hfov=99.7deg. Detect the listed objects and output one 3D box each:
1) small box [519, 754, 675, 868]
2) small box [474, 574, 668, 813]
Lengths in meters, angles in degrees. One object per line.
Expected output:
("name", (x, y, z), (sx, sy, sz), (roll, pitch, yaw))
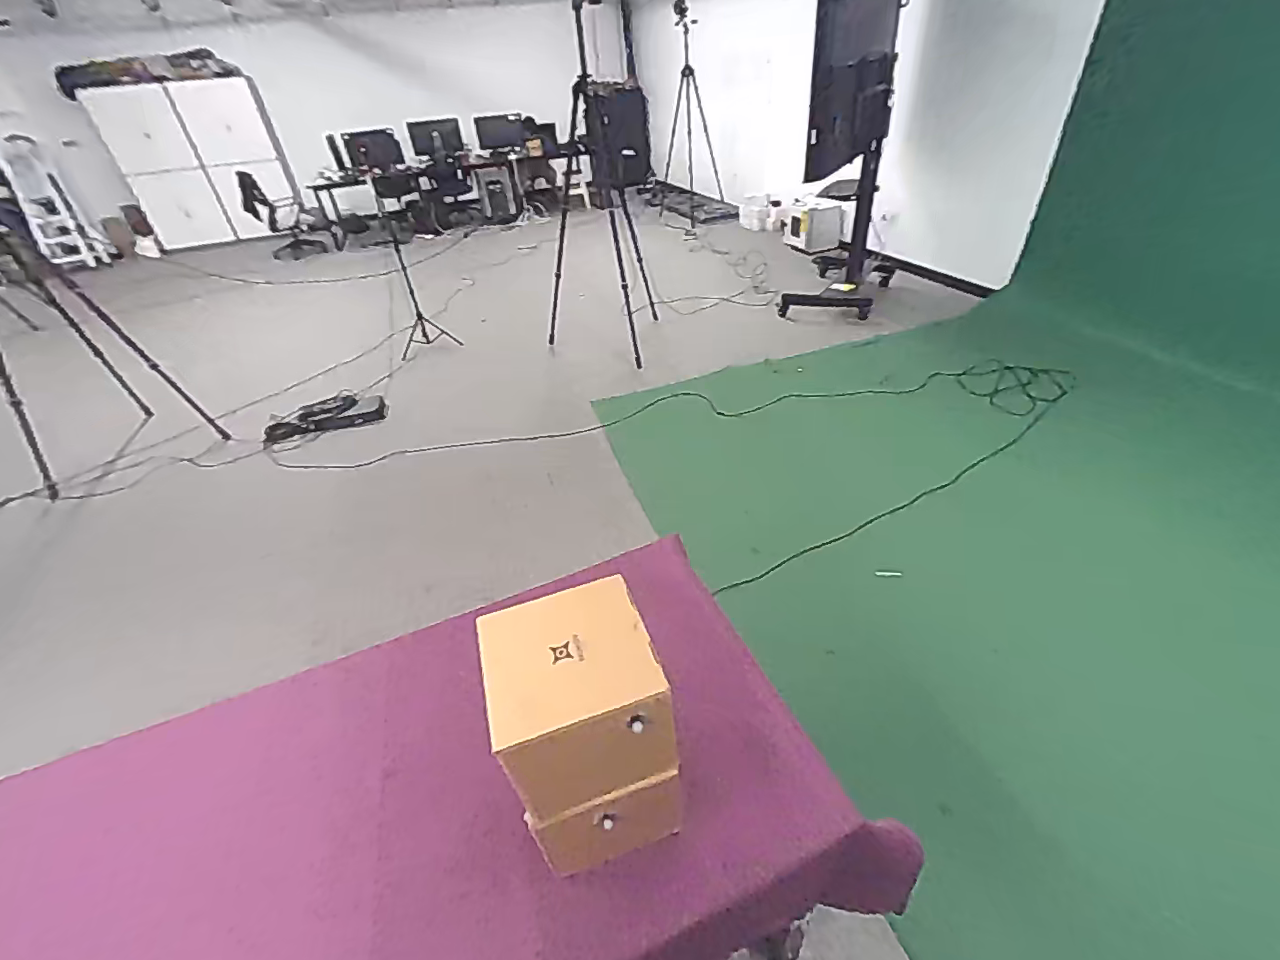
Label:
("small box", (-0.061, 0.374, 0.717), (0.179, 0.176, 0.168), (-14, 39, -10))
("small box", (-0.077, 0.243, 0.622), (0.179, 0.176, 0.168), (-15, 39, -12))
